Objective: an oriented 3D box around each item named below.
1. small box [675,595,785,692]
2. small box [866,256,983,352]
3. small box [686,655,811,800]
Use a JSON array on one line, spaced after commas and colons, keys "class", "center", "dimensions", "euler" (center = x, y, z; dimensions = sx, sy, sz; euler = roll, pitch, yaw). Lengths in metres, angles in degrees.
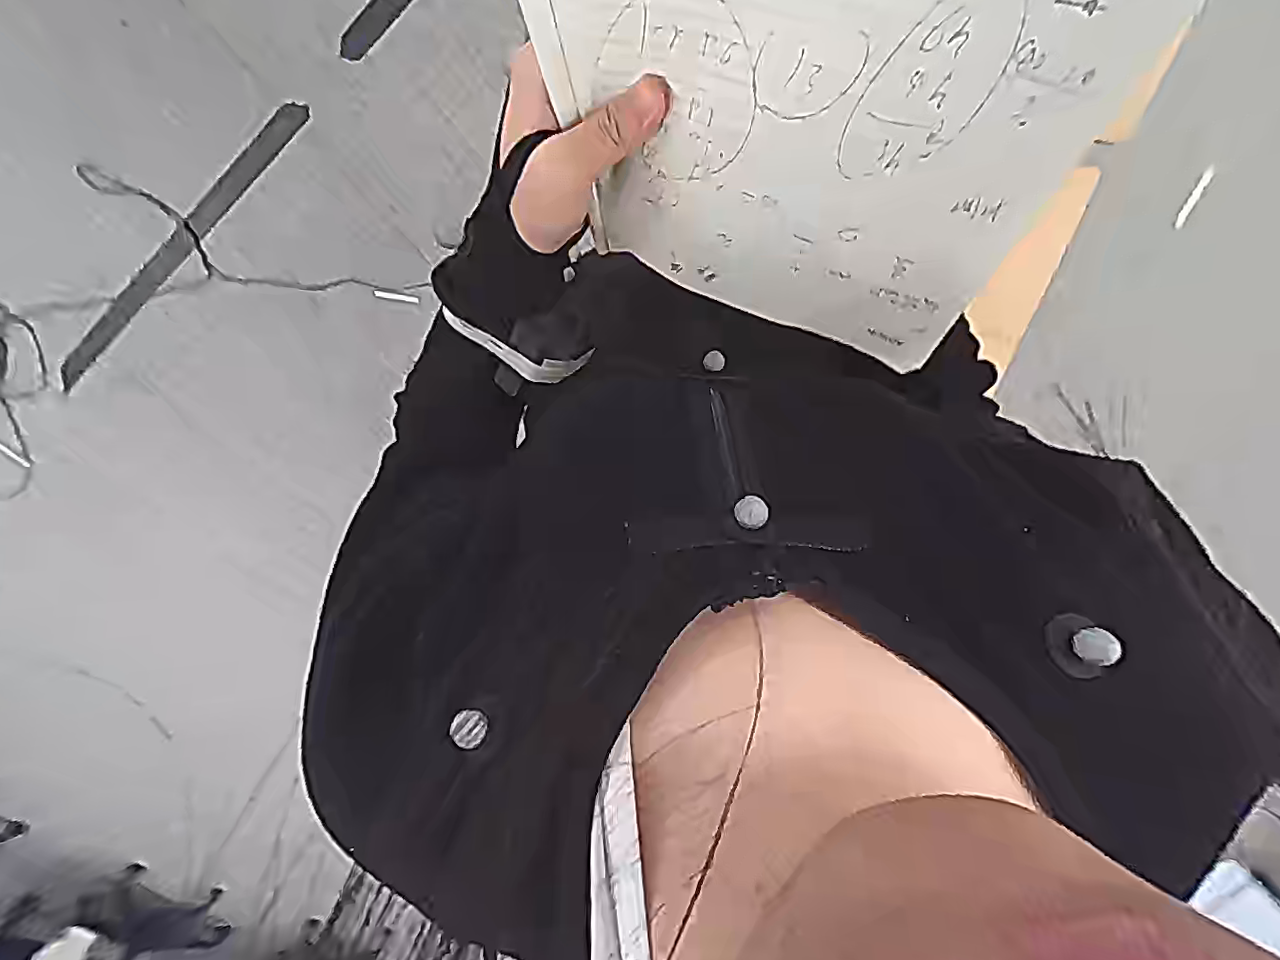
[{"class": "small box", "center": [0.190, 0.393, 1.200], "dimensions": [0.179, 0.176, 0.168], "euler": [-33, 116, 13]}, {"class": "small box", "center": [0.669, -0.426, 1.300], "dimensions": [0.168, 0.176, 0.179], "euler": [6, 120, -5]}, {"class": "small box", "center": [0.206, 0.480, 1.060], "dimensions": [0.168, 0.176, 0.179], "euler": [-30, 116, 13]}]
